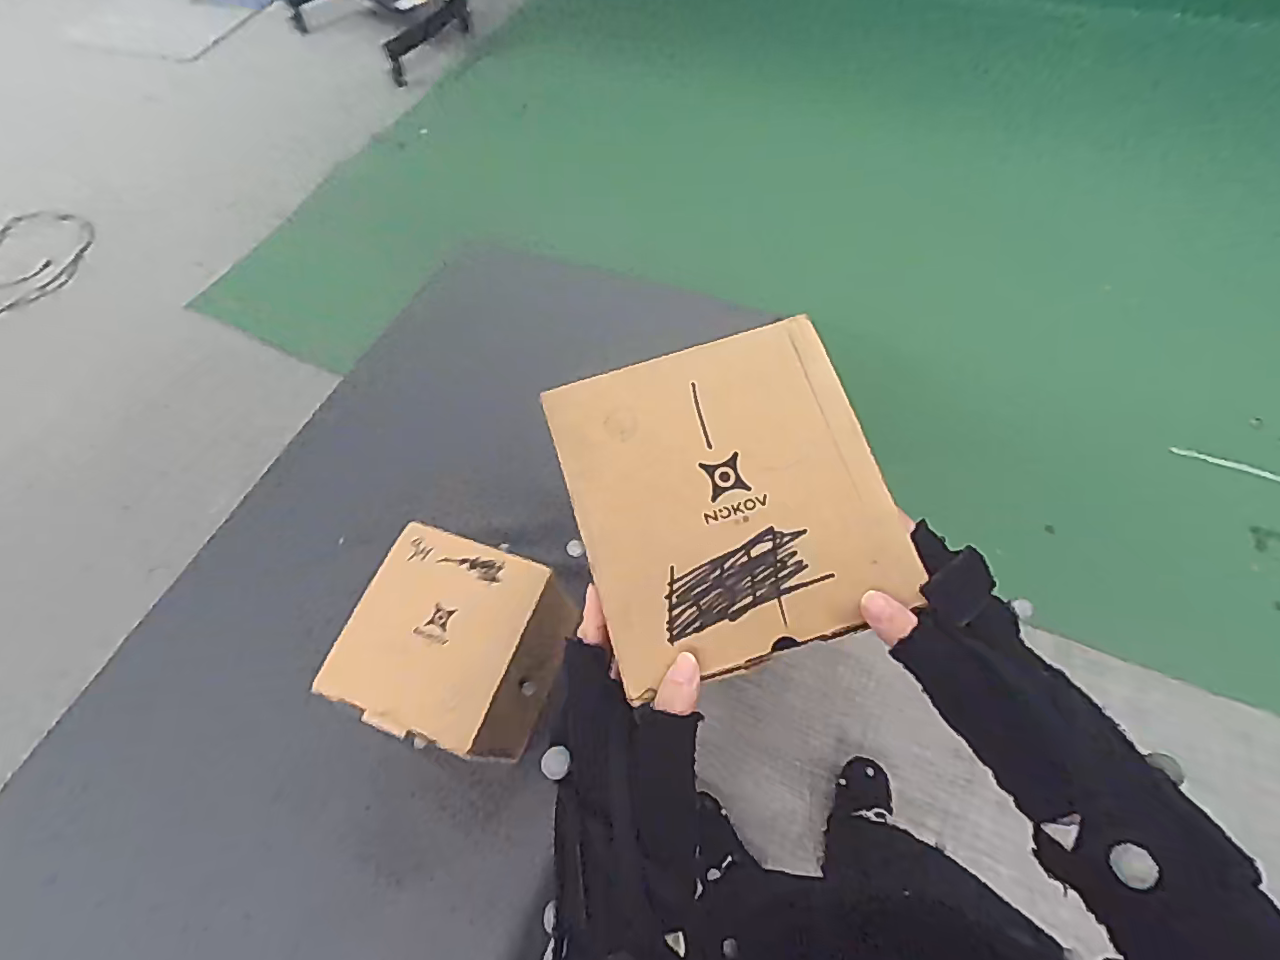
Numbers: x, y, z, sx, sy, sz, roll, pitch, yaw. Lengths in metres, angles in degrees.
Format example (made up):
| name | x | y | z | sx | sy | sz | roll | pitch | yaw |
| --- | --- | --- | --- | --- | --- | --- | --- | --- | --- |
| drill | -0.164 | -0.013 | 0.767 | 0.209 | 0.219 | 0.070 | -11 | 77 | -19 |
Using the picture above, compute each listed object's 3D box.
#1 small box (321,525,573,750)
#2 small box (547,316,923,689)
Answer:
| name | x | y | z | sx | sy | sz | roll | pitch | yaw |
| --- | --- | --- | --- | --- | --- | --- | --- | --- | --- |
| small box | -0.185 | 0.175 | 0.584 | 0.168 | 0.176 | 0.179 | 12 | 62 | 13 |
| small box | 0.050 | 0.024 | 0.374 | 0.168 | 0.176 | 0.179 | -17 | 75 | -3 |
